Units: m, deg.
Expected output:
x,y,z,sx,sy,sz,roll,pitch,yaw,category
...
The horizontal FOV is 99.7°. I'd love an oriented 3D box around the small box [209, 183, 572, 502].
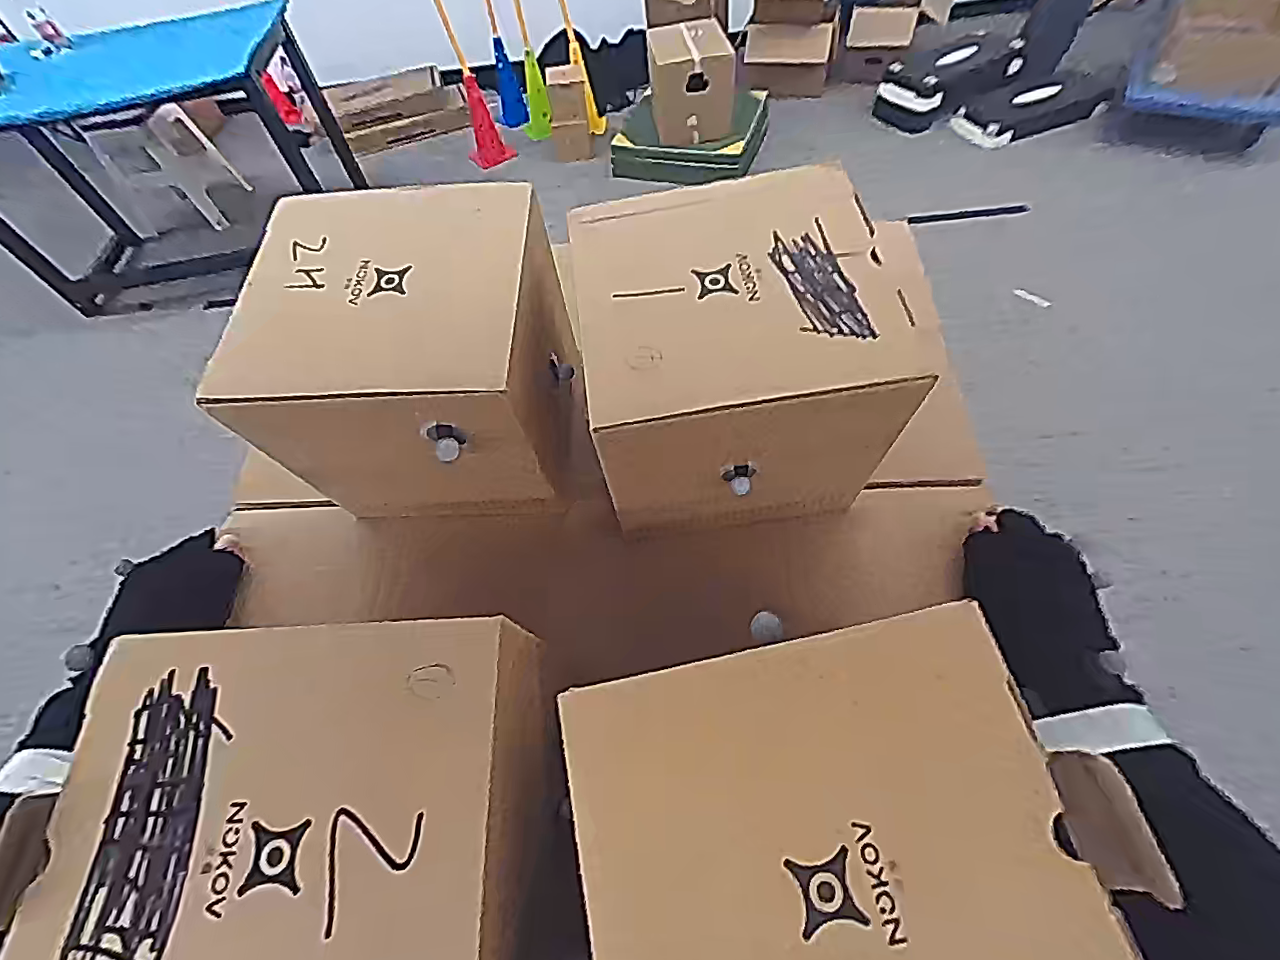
x,y,z,sx,sy,sz,roll,pitch,yaw,category
-0.152,-0.090,0.407,0.179,0.176,0.168,-1,64,4,small box
